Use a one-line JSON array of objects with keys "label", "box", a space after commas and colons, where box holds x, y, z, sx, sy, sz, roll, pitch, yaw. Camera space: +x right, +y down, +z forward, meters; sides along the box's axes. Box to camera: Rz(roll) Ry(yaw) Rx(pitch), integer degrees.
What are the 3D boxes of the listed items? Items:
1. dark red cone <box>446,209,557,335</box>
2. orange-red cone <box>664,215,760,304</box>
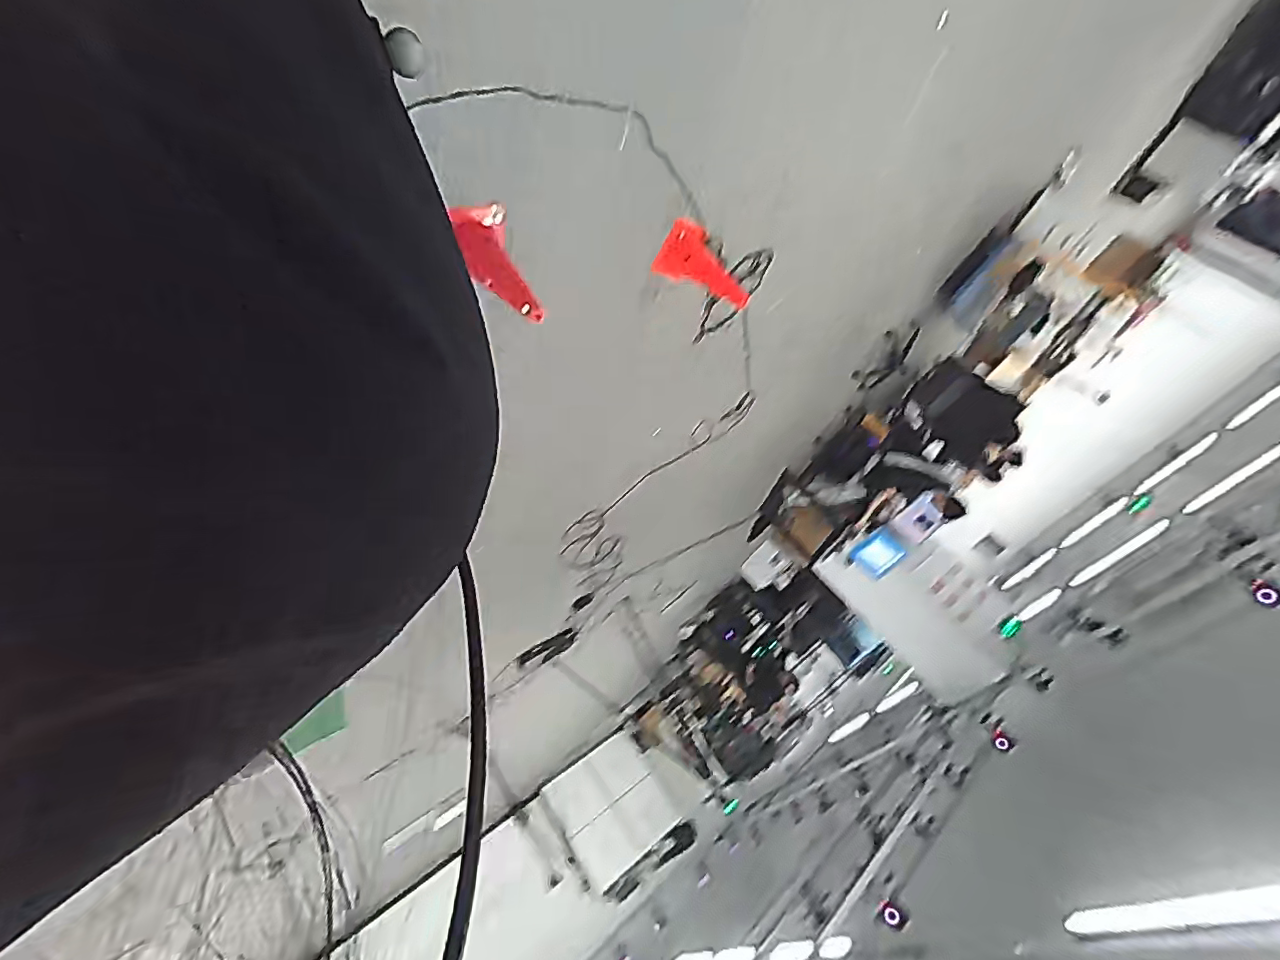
[{"label": "dark red cone", "box": [-0.317, -0.494, 1.350, 0.201, 0.394, 0.202, -24, 150, -27]}, {"label": "orange-red cone", "box": [0.285, -0.724, 1.883, 0.198, 0.360, 0.199, -4, 137, -51]}]
